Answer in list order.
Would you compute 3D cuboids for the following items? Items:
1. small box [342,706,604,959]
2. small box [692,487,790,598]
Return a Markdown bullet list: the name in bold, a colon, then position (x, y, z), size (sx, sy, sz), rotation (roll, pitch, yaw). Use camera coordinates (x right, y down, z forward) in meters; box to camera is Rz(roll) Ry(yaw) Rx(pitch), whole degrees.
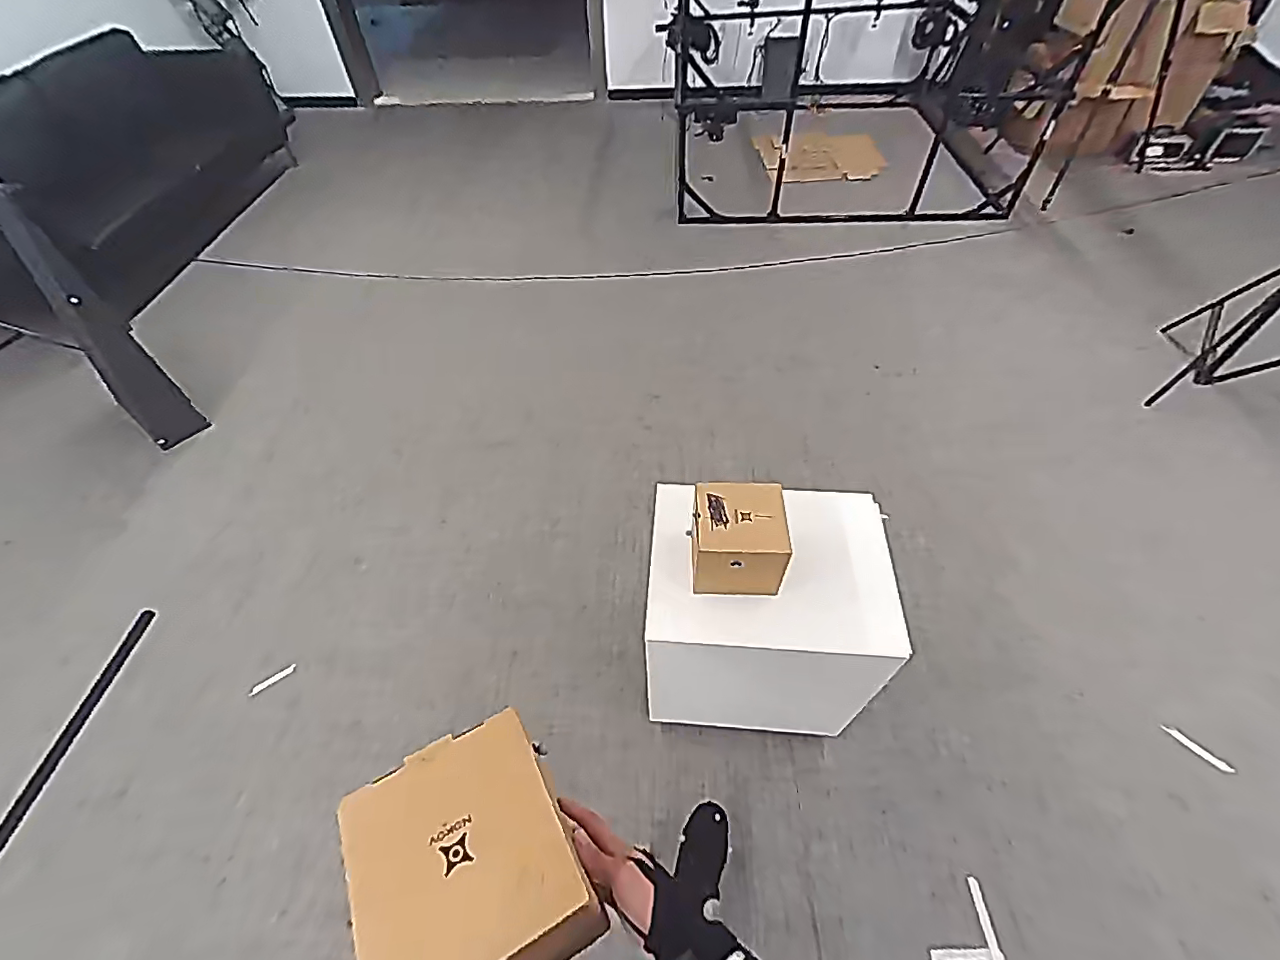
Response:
- **small box**: position (-0.145, 0.354, 0.498), size (0.168, 0.176, 0.179), rotation (-23, 46, -19)
- **small box**: position (0.196, 0.131, 1.109), size (0.179, 0.176, 0.168), rotation (1, 51, 2)
